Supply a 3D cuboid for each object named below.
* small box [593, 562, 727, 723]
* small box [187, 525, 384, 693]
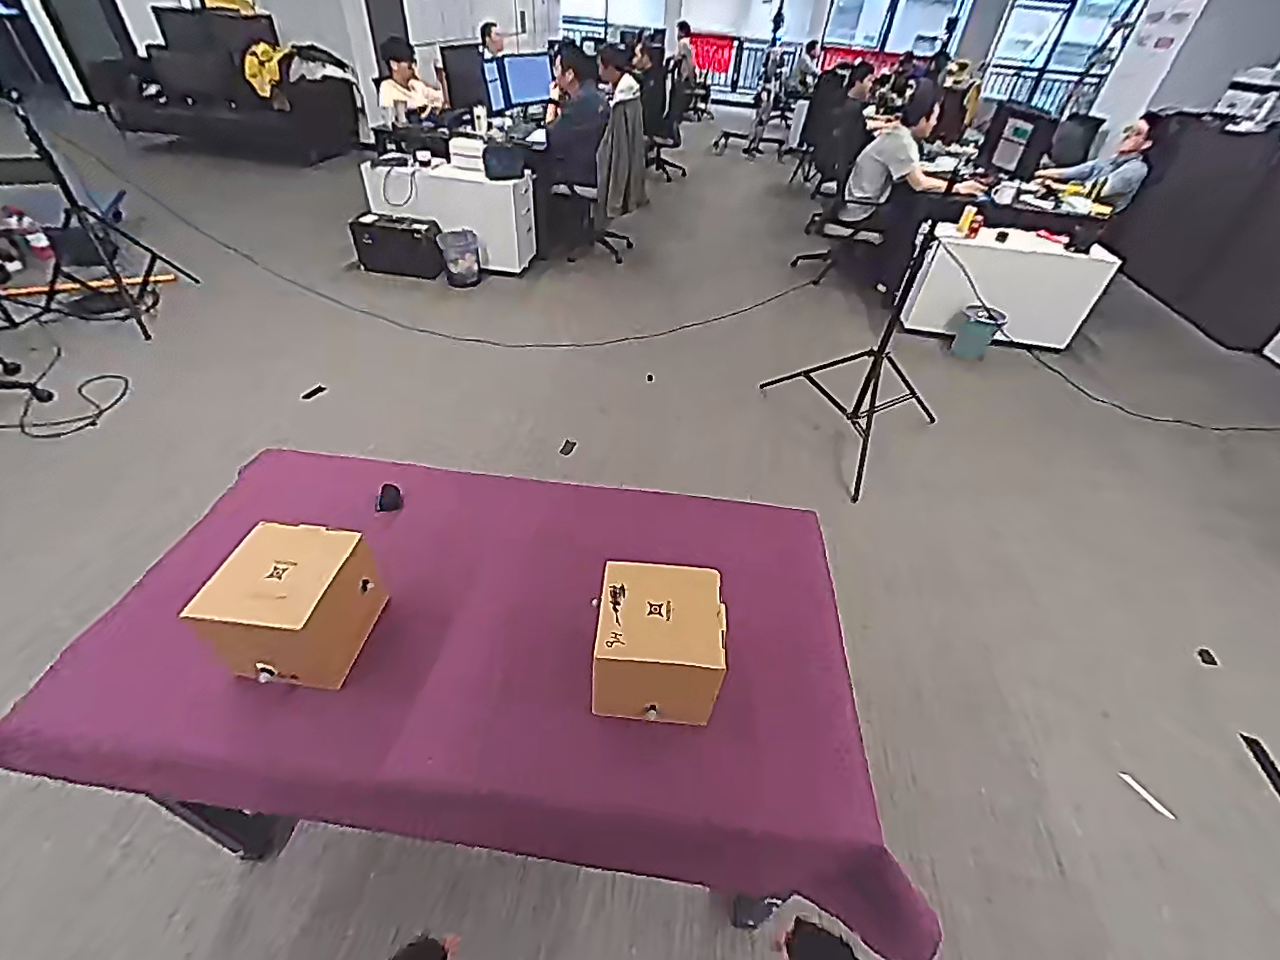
[{"bbox_3d":[0.027,0.248,0.817,0.179,0.176,0.168,5,41,0],"label":"small box"},{"bbox_3d":[-0.513,0.194,0.821,0.168,0.176,0.179,5,42,2],"label":"small box"}]
